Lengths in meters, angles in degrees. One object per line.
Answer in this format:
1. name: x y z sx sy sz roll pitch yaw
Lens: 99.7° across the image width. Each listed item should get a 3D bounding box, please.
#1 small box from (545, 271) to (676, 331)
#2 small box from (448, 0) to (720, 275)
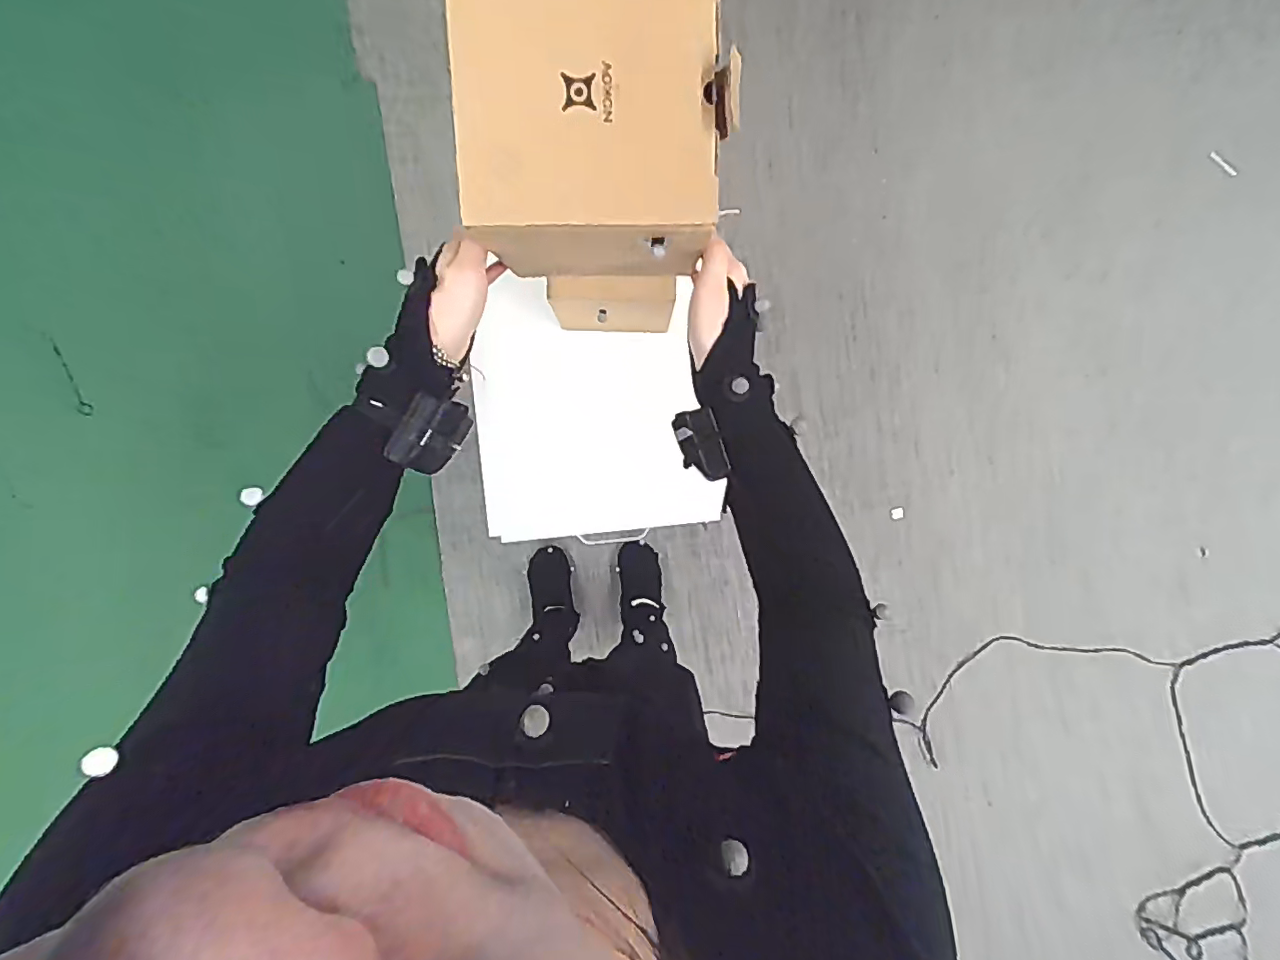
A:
1. small box: -0.038 -0.323 0.798 0.179 0.176 0.168 1 90 -1
2. small box: -0.036 -0.265 0.430 0.179 0.176 0.168 -1 99 -2
